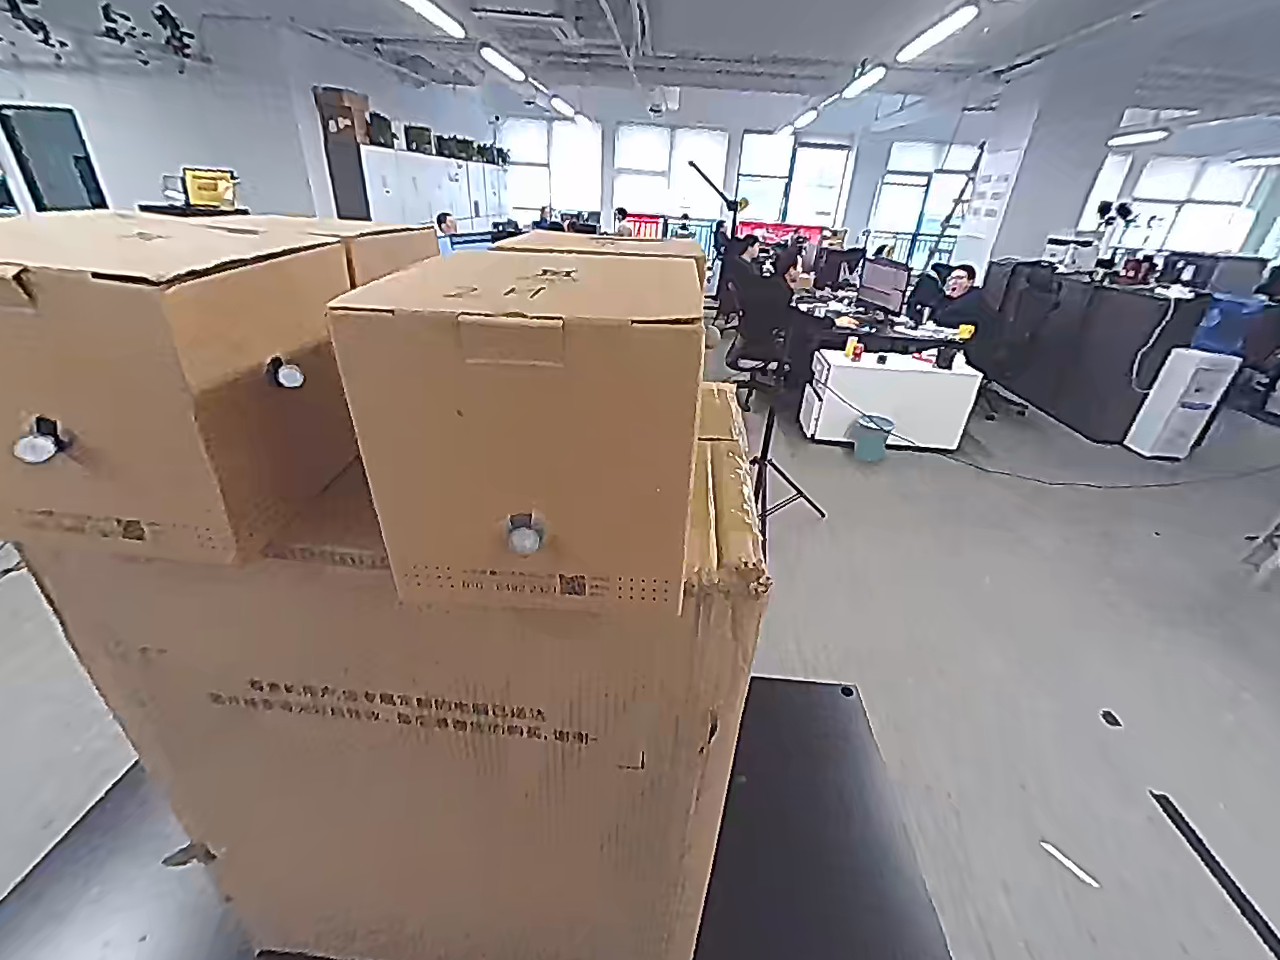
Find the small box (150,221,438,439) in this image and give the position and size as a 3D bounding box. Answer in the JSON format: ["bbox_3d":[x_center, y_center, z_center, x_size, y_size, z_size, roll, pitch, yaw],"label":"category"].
[{"bbox_3d":[-0.306,-0.154,0.532,0.168,0.176,0.179,4,28,1],"label":"small box"}]

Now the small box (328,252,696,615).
[{"bbox_3d":[-0.054,-0.041,0.343,0.168,0.176,0.179,2,31,3],"label":"small box"}]

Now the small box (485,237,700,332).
[{"bbox_3d":[-0.035,-0.131,0.510,0.168,0.176,0.179,2,27,2],"label":"small box"}]
